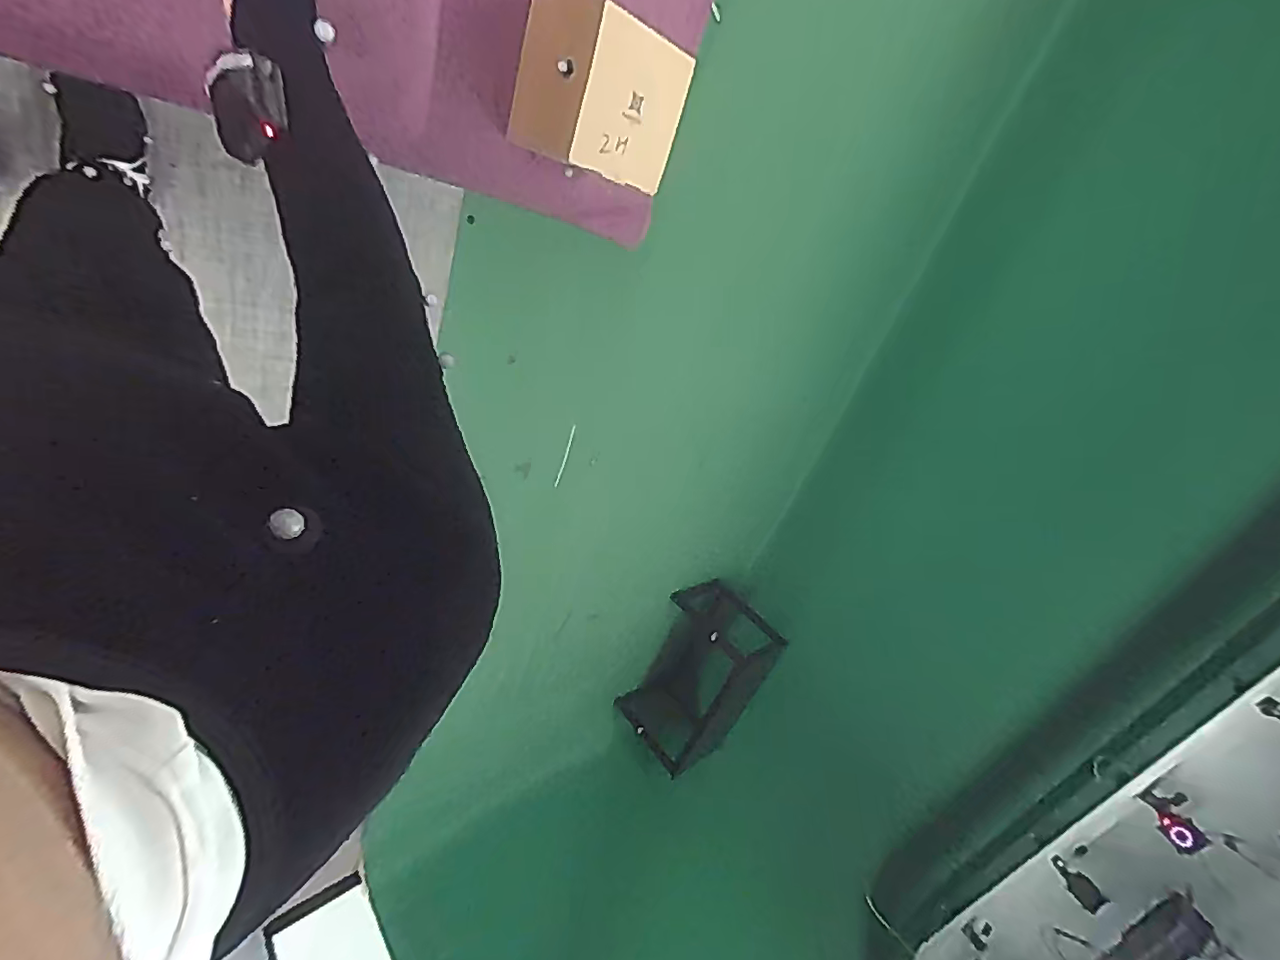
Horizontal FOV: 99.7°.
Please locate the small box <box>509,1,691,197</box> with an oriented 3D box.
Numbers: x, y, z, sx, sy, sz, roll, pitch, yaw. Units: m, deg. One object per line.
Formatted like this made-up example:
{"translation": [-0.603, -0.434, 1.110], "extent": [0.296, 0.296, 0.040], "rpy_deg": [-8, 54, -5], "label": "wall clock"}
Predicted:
{"translation": [-0.064, -0.534, 0.764], "extent": [0.168, 0.176, 0.179], "rpy_deg": [-7, 128, -44], "label": "small box"}
